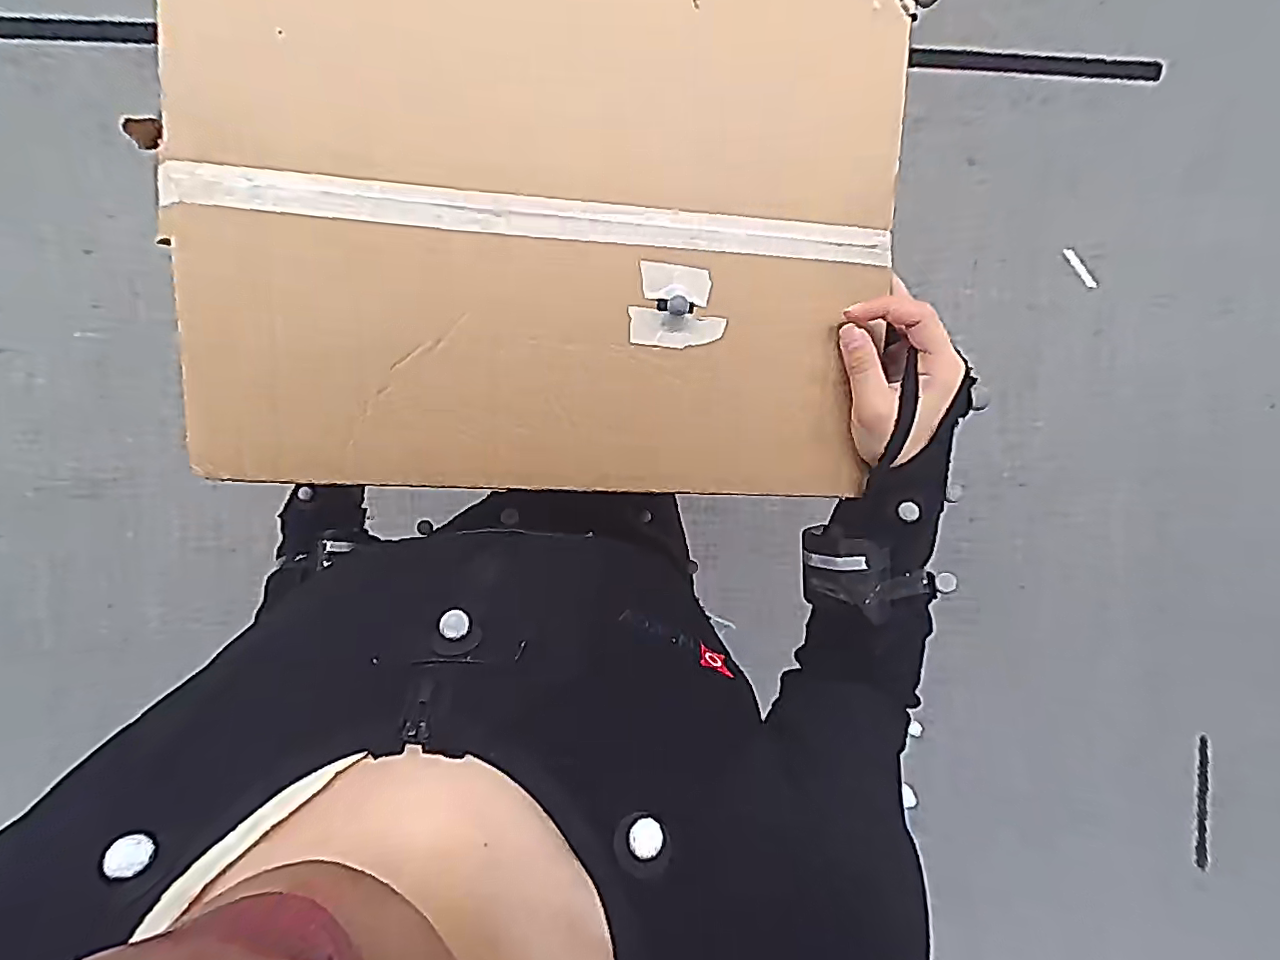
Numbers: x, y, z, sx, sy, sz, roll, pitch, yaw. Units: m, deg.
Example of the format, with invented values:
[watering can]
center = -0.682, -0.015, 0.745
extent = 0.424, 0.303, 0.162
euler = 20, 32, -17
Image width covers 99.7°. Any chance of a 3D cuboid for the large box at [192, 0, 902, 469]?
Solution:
[large box]
center = -0.063, -0.180, 0.464
extent = 0.408, 0.320, 0.320
euler = 1, 98, -10
